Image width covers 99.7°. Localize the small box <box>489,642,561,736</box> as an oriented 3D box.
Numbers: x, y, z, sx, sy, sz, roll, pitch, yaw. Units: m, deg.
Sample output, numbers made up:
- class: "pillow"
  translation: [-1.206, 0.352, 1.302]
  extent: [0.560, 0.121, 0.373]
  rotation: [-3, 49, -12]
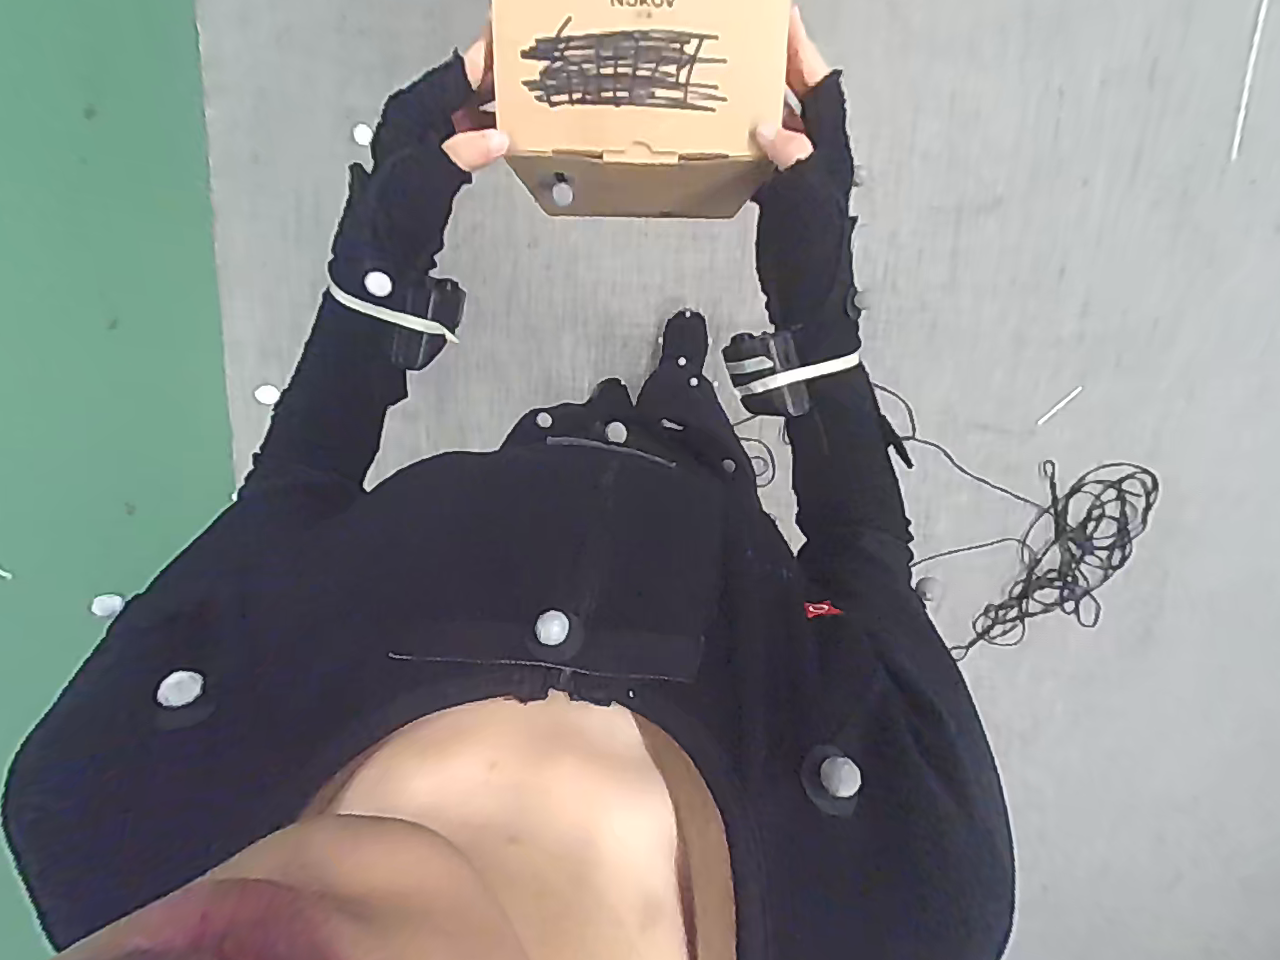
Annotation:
- class: "small box"
  translation: [-0.309, 0.567, 1.477]
  extent: [0.168, 0.176, 0.179]
  rotation: [4, 99, -2]
